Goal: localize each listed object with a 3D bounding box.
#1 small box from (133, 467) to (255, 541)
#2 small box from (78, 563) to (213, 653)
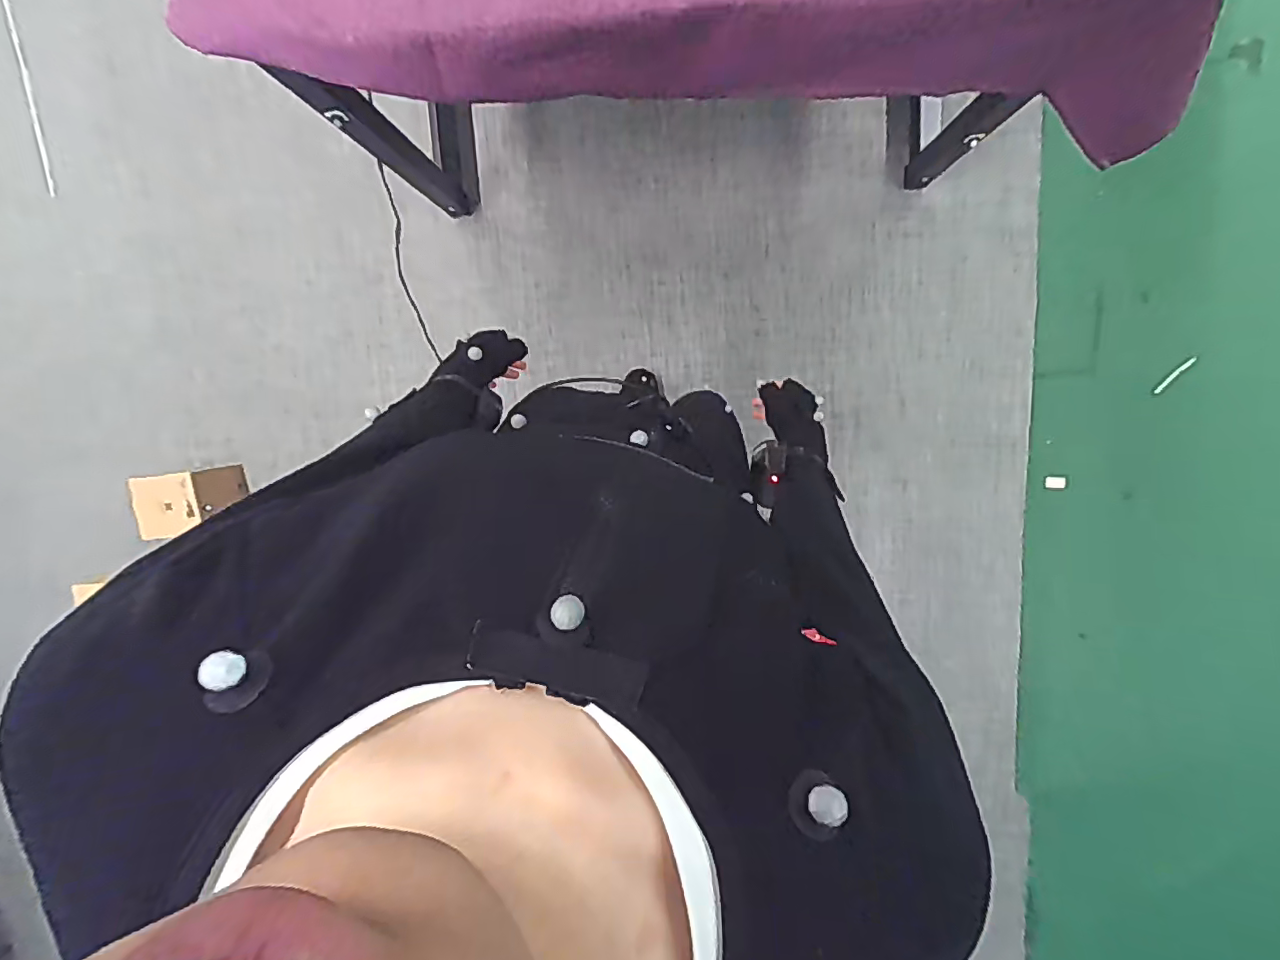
[{"bbox_3d":[-1.198,0.060,1.462,0.179,0.176,0.168,-5,99,5],"label":"small box"},{"bbox_3d":[-1.206,0.310,1.339,0.179,0.176,0.168,-4,99,5],"label":"small box"}]
